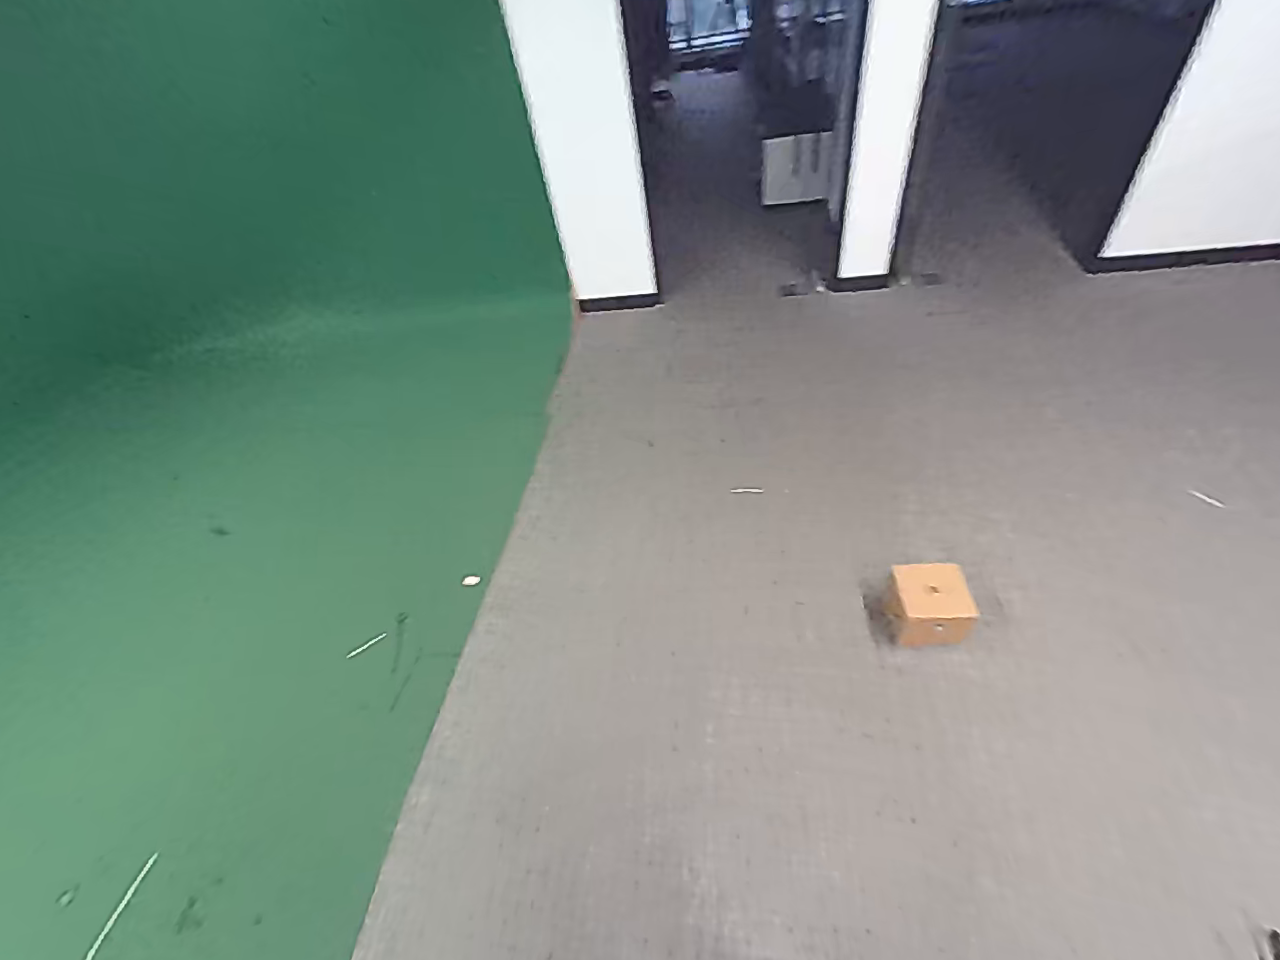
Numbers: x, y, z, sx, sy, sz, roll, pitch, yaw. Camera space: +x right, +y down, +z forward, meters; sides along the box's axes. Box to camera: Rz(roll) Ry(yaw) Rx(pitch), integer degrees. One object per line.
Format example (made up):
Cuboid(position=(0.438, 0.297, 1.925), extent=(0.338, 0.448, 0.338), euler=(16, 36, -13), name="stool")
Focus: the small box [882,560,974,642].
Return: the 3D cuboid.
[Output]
Cuboid(position=(0.785, 0.338, 1.499), extent=(0.179, 0.176, 0.168), euler=(-3, 47, 8), name="small box")
